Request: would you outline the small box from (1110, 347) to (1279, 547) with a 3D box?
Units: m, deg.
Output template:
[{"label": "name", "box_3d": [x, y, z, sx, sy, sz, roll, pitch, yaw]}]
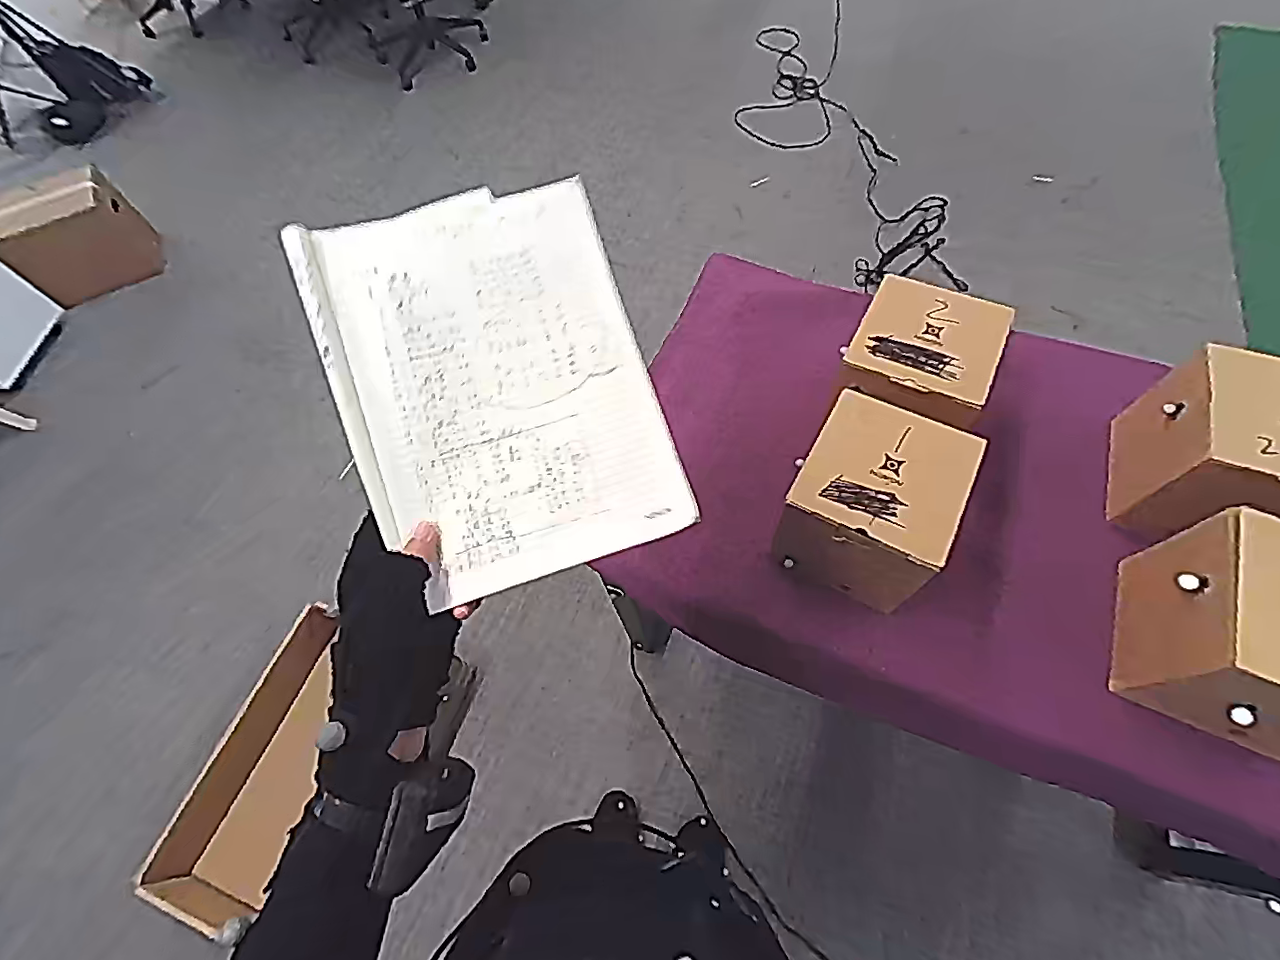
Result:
[{"label": "small box", "box_3d": [0.710, -0.021, 0.645, 0.168, 0.176, 0.179, 20, 65, 15]}]

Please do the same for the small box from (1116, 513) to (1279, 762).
[{"label": "small box", "box_3d": [0.636, 0.168, 0.551, 0.168, 0.176, 0.179, 22, 66, 17]}]

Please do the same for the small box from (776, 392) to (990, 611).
[{"label": "small box", "box_3d": [0.278, 0.033, 0.655, 0.168, 0.176, 0.179, 27, 66, 18]}]
